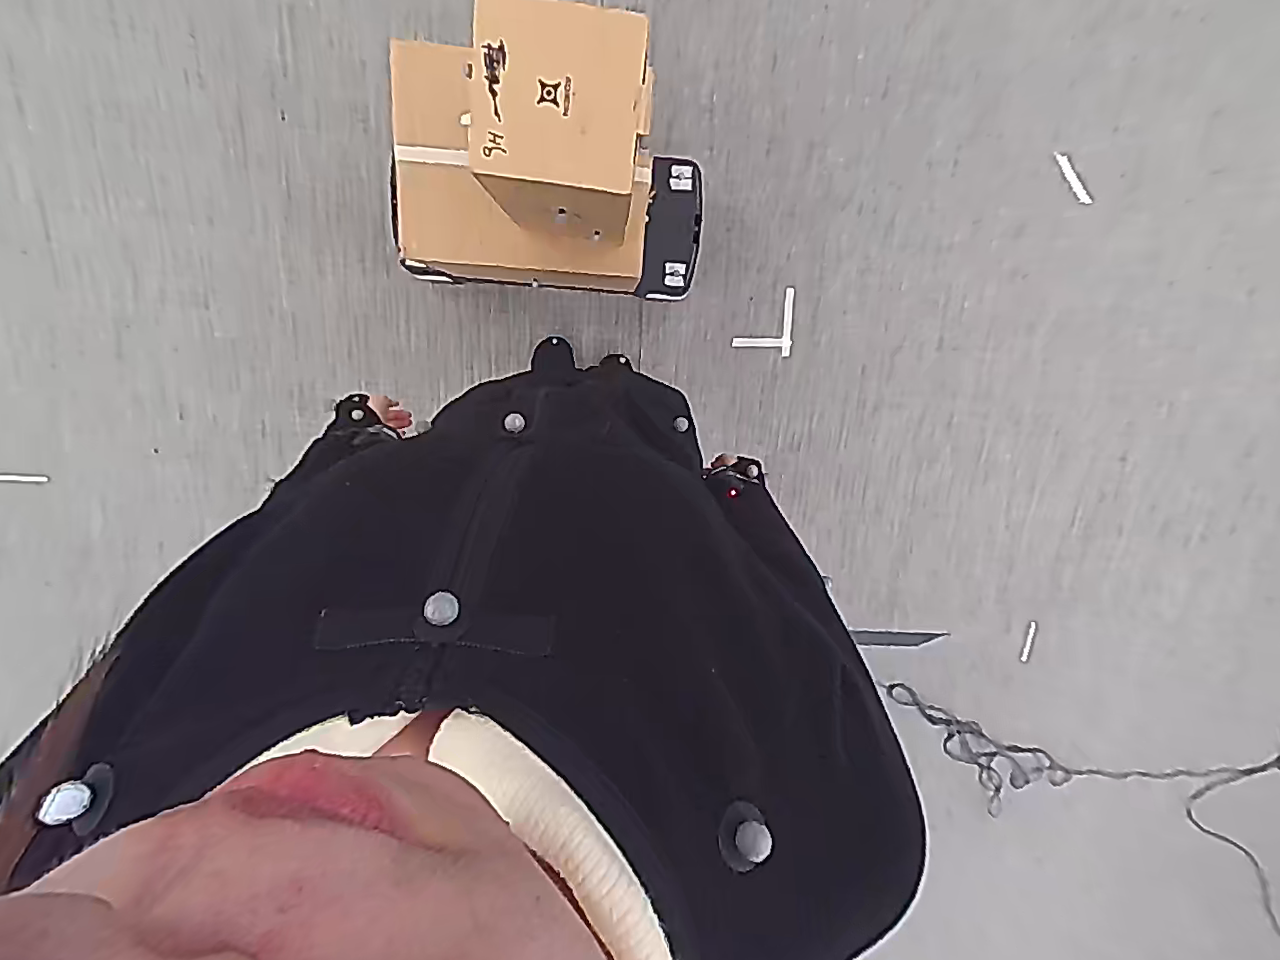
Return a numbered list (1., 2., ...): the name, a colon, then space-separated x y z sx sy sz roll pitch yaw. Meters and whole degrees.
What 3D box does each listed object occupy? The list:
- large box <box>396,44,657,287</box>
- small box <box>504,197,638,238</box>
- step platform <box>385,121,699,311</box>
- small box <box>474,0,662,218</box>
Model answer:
1. large box: -0.181 -0.540 1.003 0.408 0.320 0.320 3 104 -3
2. small box: -0.086 -0.456 0.776 0.179 0.176 0.168 7 105 -4
3. step platform: -0.210 -0.587 1.236 0.684 0.204 0.286 9 104 -4
4. small box: -0.080 -0.413 0.618 0.179 0.176 0.168 6 104 -5
